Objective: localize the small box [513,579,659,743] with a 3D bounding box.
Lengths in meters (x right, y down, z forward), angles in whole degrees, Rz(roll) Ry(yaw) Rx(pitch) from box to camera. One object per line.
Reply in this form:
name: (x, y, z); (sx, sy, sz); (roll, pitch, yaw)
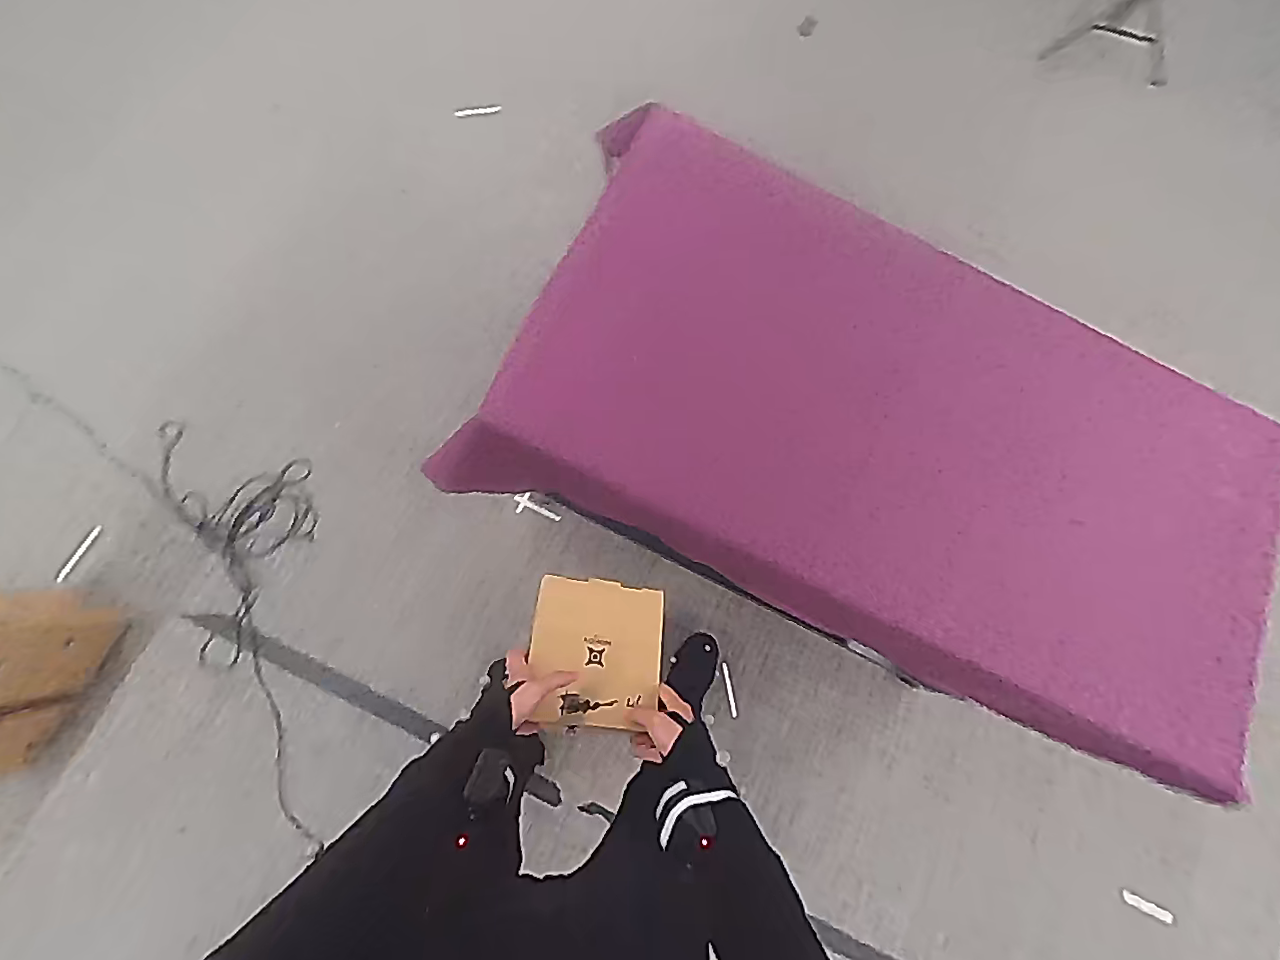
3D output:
small box: (-0.077, 0.251, 0.733); (0.168, 0.176, 0.179); (9, 62, -9)
